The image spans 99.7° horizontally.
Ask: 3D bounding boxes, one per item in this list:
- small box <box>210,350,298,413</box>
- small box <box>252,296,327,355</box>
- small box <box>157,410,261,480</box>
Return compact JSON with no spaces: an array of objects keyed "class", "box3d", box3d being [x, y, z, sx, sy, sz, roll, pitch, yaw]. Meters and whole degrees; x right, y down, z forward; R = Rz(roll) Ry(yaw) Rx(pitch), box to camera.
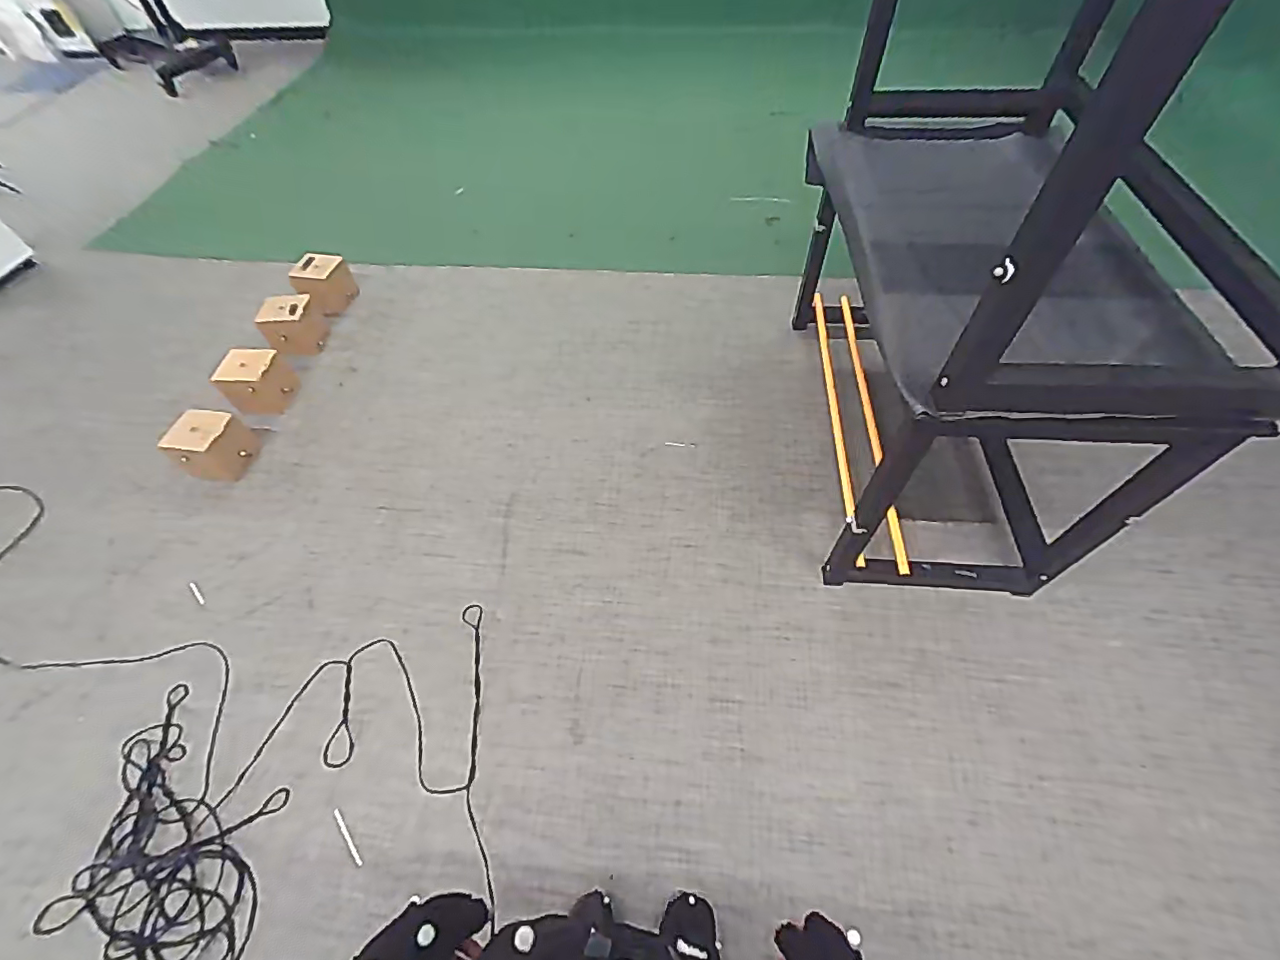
[{"class":"small box","box3d":[-1.423,-0.364,2.006,0.179,0.176,0.168,1,55,2]},{"class":"small box","box3d":[-1.408,-0.623,2.190,0.179,0.176,0.168,-4,54,0]},{"class":"small box","box3d":[-1.449,-0.115,1.831,0.179,0.176,0.168,6,56,6]}]
